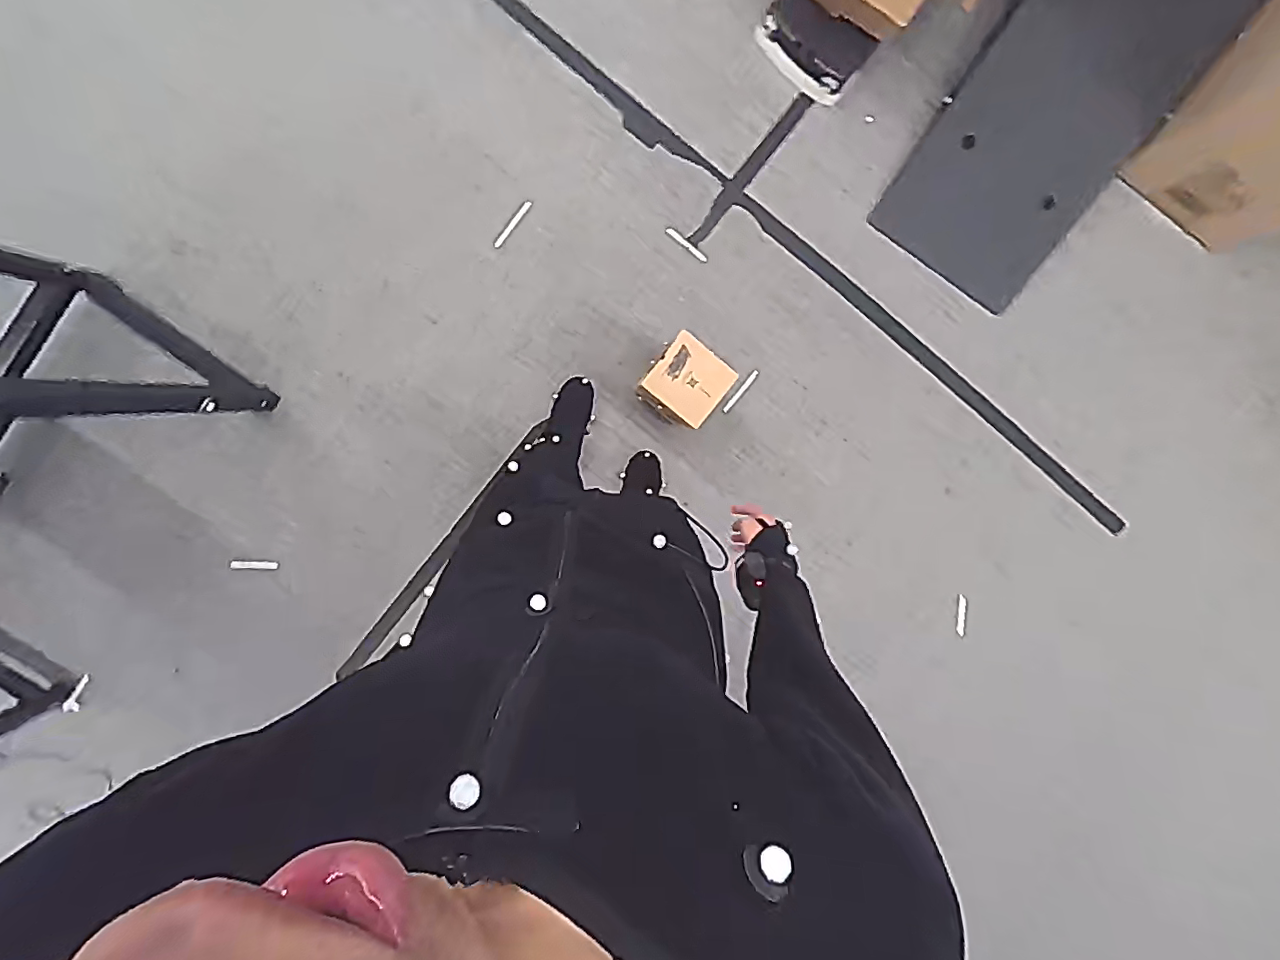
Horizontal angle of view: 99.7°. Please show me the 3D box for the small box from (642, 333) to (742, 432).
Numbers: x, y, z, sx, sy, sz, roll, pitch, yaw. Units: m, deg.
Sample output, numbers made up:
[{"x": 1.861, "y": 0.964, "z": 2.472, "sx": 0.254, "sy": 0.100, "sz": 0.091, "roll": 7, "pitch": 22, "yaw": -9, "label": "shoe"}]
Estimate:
[{"x": 0.118, "y": -0.236, "z": 1.339, "sx": 0.179, "sy": 0.176, "sz": 0.168, "roll": 39, "pitch": 95, "yaw": -8, "label": "small box"}]
